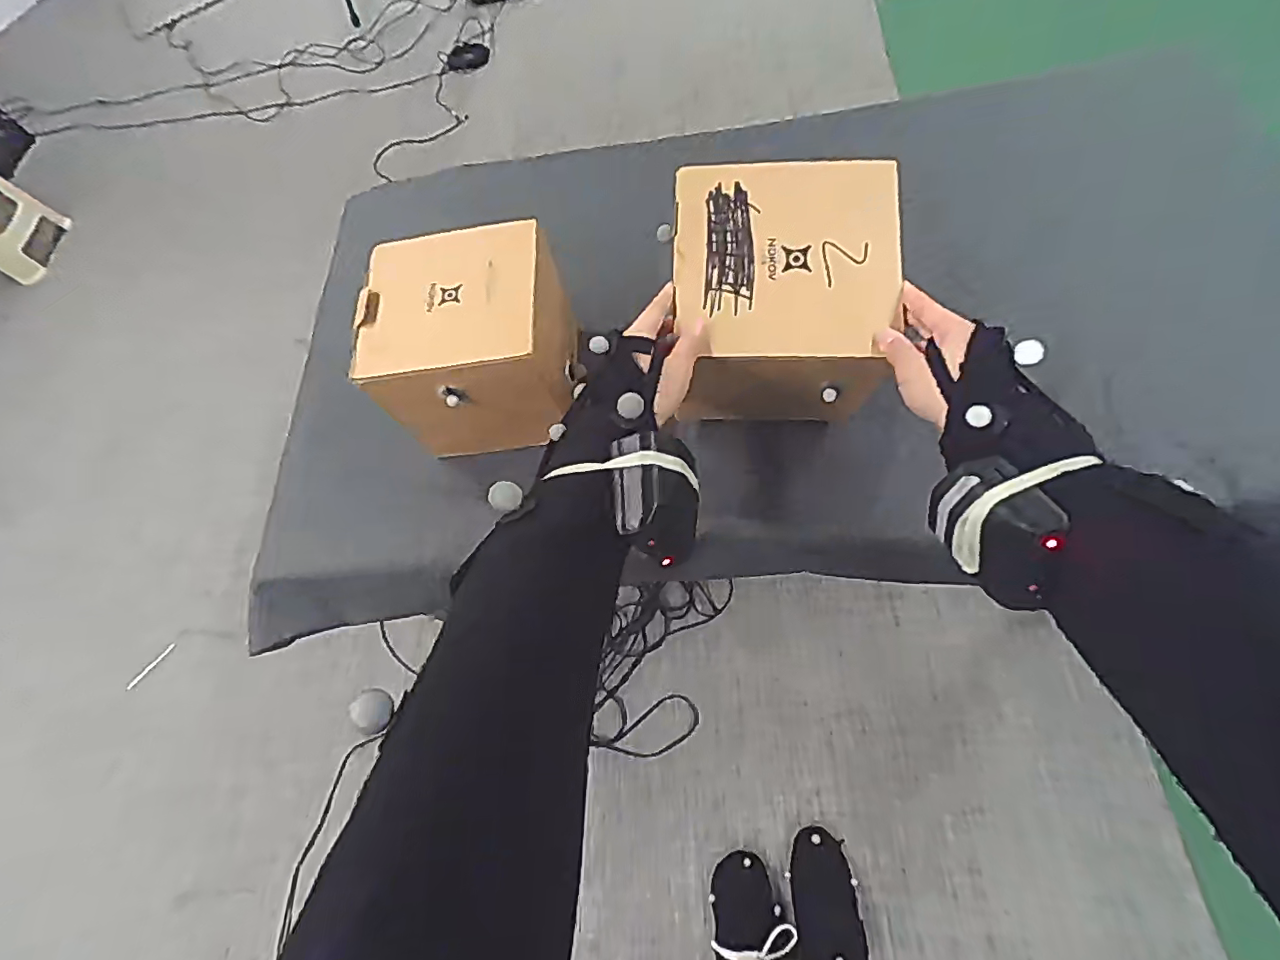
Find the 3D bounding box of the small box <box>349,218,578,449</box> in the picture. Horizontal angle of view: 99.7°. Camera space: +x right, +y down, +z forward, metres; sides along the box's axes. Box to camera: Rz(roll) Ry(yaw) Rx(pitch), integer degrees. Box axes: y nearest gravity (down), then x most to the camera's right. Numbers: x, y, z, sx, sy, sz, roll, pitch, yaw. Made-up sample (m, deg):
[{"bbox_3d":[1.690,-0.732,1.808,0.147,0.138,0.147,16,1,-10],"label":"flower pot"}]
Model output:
[{"bbox_3d":[-0.172,-0.144,0.584,0.179,0.176,0.168,-6,67,6],"label":"small box"}]
